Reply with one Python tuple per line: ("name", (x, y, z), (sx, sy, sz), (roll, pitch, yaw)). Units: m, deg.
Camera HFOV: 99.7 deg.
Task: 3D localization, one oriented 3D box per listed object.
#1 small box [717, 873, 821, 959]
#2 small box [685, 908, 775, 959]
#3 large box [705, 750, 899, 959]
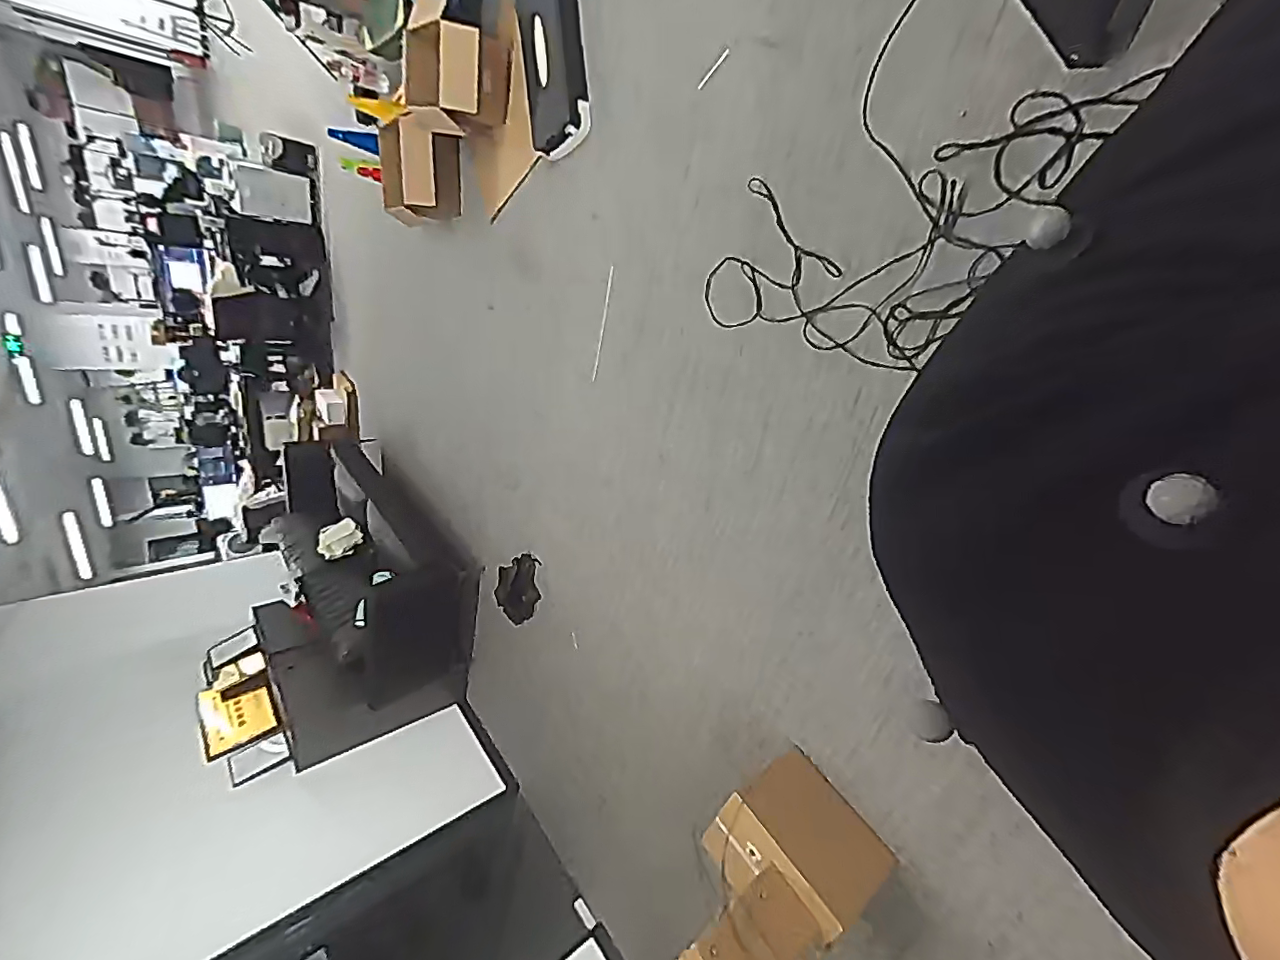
("small box", (0.342, 1.196, 1.441), (0.179, 0.176, 0.168), (42, 129, 35))
("small box", (0.225, 1.218, 1.331), (0.179, 0.176, 0.168), (46, 131, 35))
("large box", (0.480, 1.133, 1.643), (0.408, 0.320, 0.320), (44, 128, 36))
